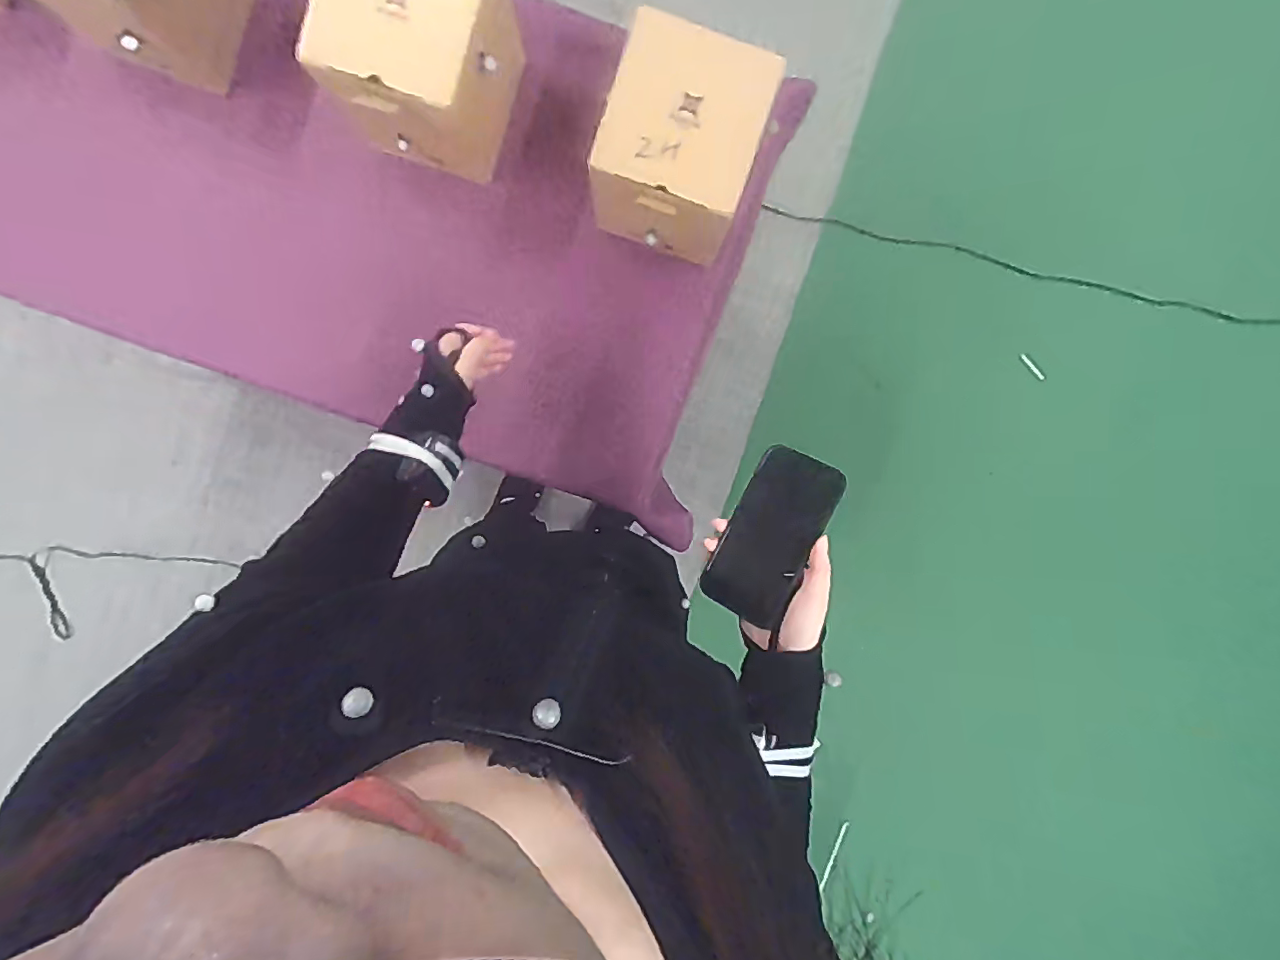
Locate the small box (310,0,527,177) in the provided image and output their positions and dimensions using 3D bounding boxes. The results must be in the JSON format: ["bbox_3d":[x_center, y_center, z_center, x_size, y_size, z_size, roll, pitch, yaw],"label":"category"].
[{"bbox_3d":[-0.242,-0.503,0.637,0.168,0.176,0.179,17,95,-2],"label":"small box"}]

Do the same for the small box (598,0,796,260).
[{"bbox_3d":[0.058,-0.396,0.645,0.168,0.176,0.179,20,94,-1],"label":"small box"}]

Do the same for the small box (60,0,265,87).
[{"bbox_3d":[-0.575,-0.609,0.623,0.168,0.176,0.179,20,94,-4],"label":"small box"}]
